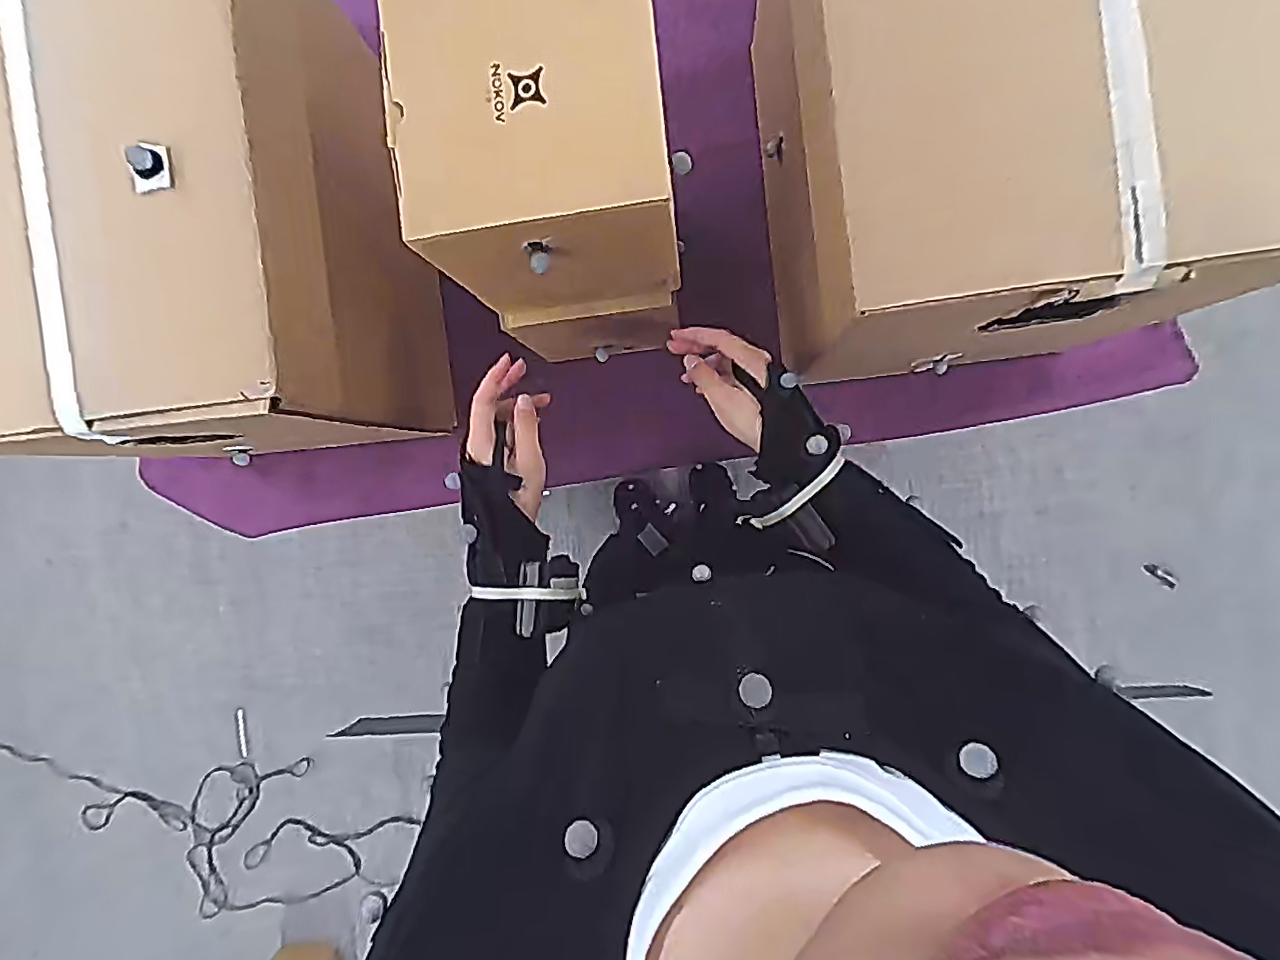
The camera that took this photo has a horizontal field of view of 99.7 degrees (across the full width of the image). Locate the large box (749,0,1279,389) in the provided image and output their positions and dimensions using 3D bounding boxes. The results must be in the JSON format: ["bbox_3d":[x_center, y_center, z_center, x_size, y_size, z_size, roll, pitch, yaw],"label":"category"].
[{"bbox_3d":[0.278,-0.319,0.467,0.320,0.320,0.408,-7,90,7],"label":"large box"}]

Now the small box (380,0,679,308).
[{"bbox_3d":[-0.063,-0.244,0.414,0.179,0.176,0.168,-6,91,8],"label":"small box"}]

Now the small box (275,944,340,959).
[{"bbox_3d":[-0.944,1.418,1.479,0.179,0.176,0.168,-7,91,7],"label":"small box"}]
